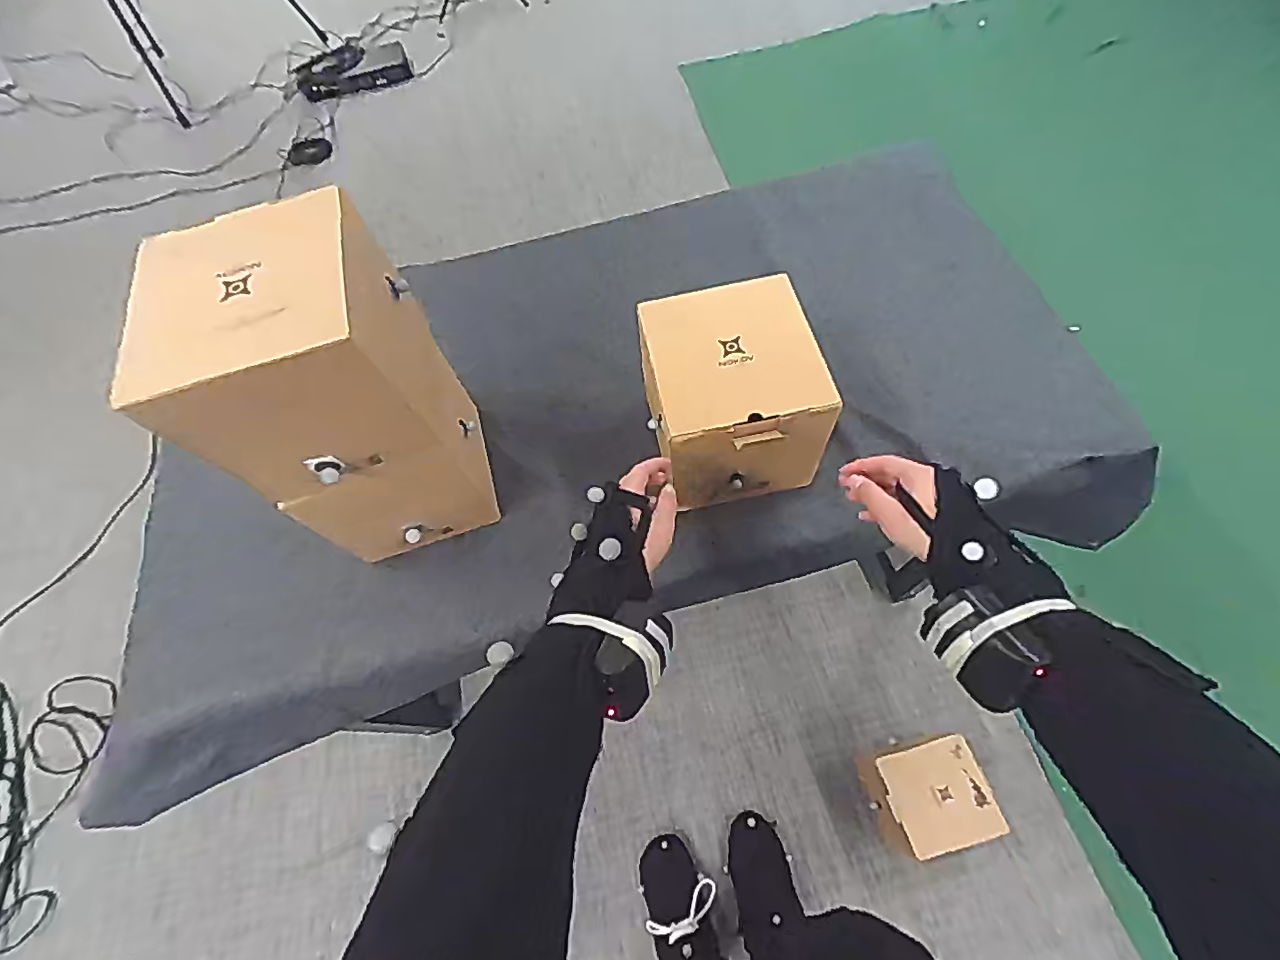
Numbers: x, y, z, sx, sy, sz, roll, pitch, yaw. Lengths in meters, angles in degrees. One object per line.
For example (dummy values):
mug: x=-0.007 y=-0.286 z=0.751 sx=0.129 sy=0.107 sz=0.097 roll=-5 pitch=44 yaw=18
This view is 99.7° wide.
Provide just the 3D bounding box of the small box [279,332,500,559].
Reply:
small box: x=-0.275 y=-0.034 z=0.617 sx=0.168 sy=0.176 sz=0.179 roll=-18 pitch=63 yaw=-4

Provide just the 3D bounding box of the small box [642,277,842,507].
small box: x=0.100 y=-0.092 z=0.611 sx=0.168 sy=0.176 sz=0.179 roll=-12 pitch=63 yaw=-1

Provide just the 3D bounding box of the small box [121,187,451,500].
small box: x=-0.285 y=-0.109 z=0.473 sx=0.168 sy=0.176 sz=0.179 roll=-18 pitch=64 yaw=-3

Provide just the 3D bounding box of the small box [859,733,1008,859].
small box: x=0.541 y=0.599 z=1.035 sx=0.179 sy=0.176 sz=0.168 roll=-16 pitch=62 yaw=-2
